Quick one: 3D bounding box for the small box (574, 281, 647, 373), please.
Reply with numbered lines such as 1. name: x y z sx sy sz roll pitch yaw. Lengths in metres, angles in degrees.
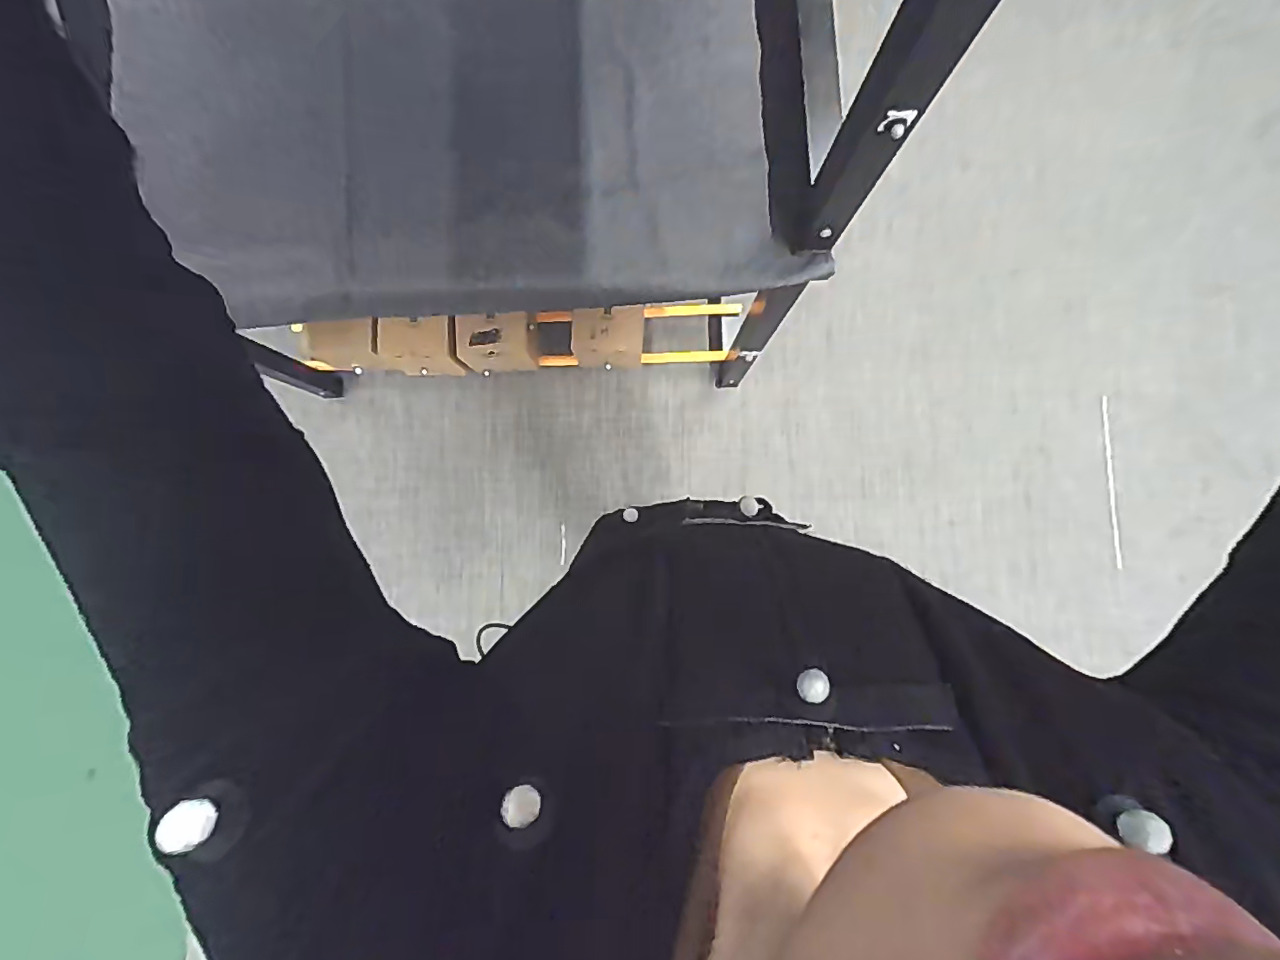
1. small box: -0.069 -0.379 1.363 0.168 0.176 0.179 3 87 2
